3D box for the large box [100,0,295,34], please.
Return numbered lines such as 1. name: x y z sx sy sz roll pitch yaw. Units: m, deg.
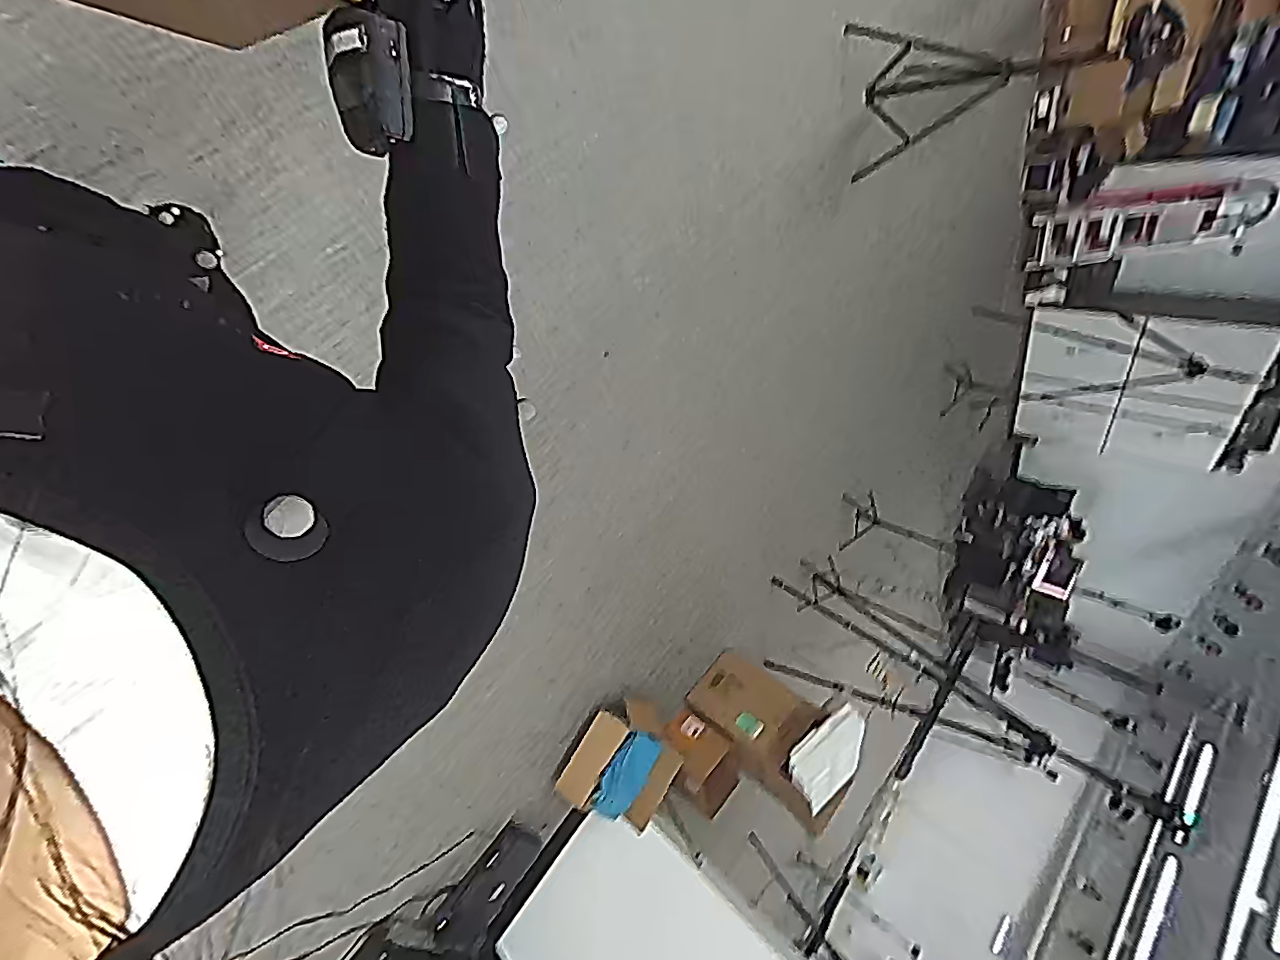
1. large box: -0.388 -0.436 0.202 0.408 0.320 0.320 -15 125 -43
